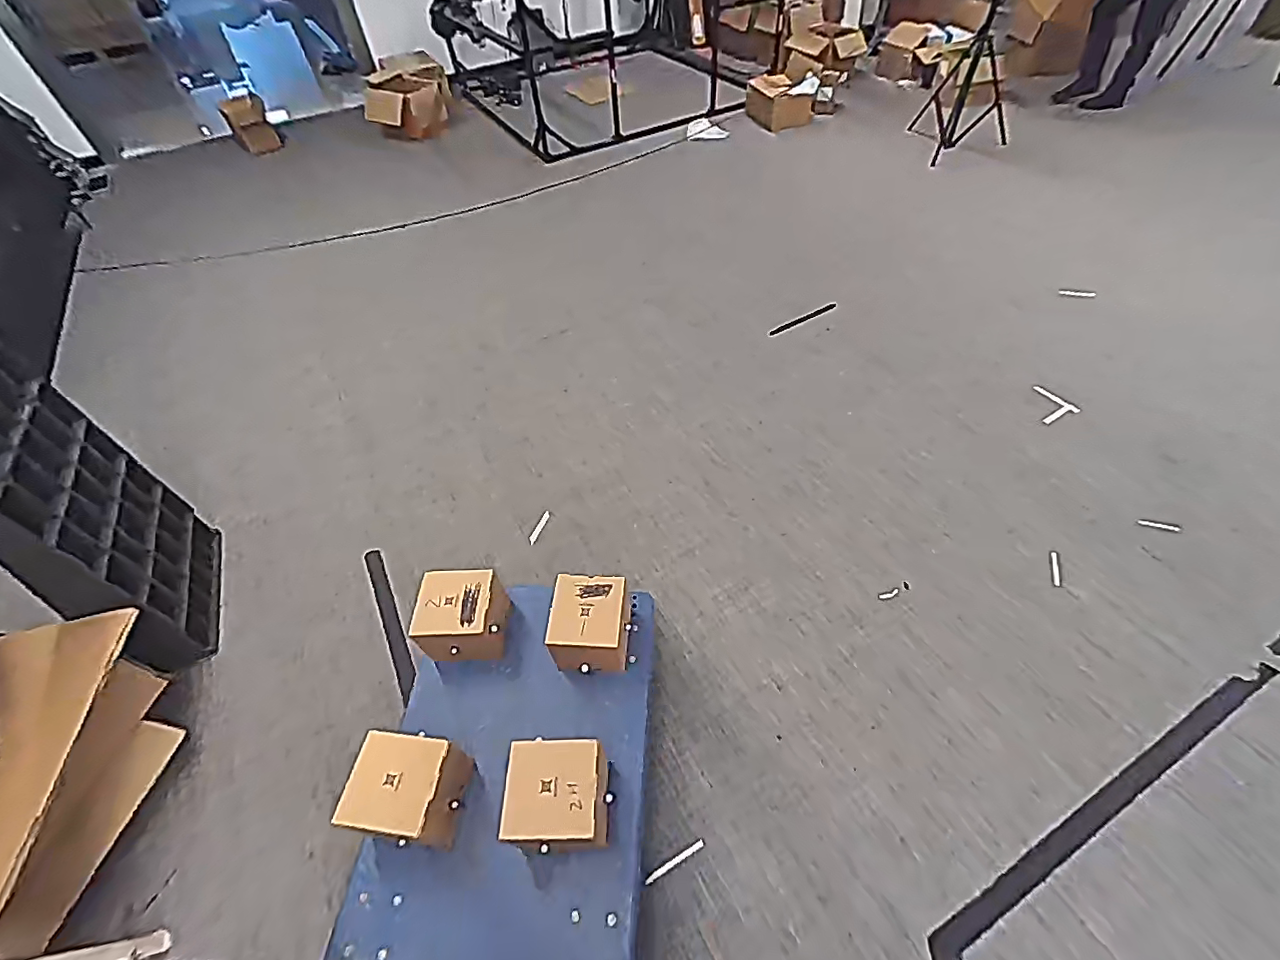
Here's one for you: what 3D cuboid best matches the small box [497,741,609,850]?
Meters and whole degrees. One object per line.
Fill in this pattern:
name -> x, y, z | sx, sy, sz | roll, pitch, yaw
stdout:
small box -> -0.162, 0.625, 1.069 | 0.179, 0.176, 0.168 | -2, 51, 4

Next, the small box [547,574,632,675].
small box -> -0.113, 0.346, 1.294 | 0.168, 0.176, 0.179 | 2, 52, 6

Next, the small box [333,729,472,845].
small box -> -0.469, 0.625, 1.097 | 0.179, 0.176, 0.168 | 5, 51, 7
